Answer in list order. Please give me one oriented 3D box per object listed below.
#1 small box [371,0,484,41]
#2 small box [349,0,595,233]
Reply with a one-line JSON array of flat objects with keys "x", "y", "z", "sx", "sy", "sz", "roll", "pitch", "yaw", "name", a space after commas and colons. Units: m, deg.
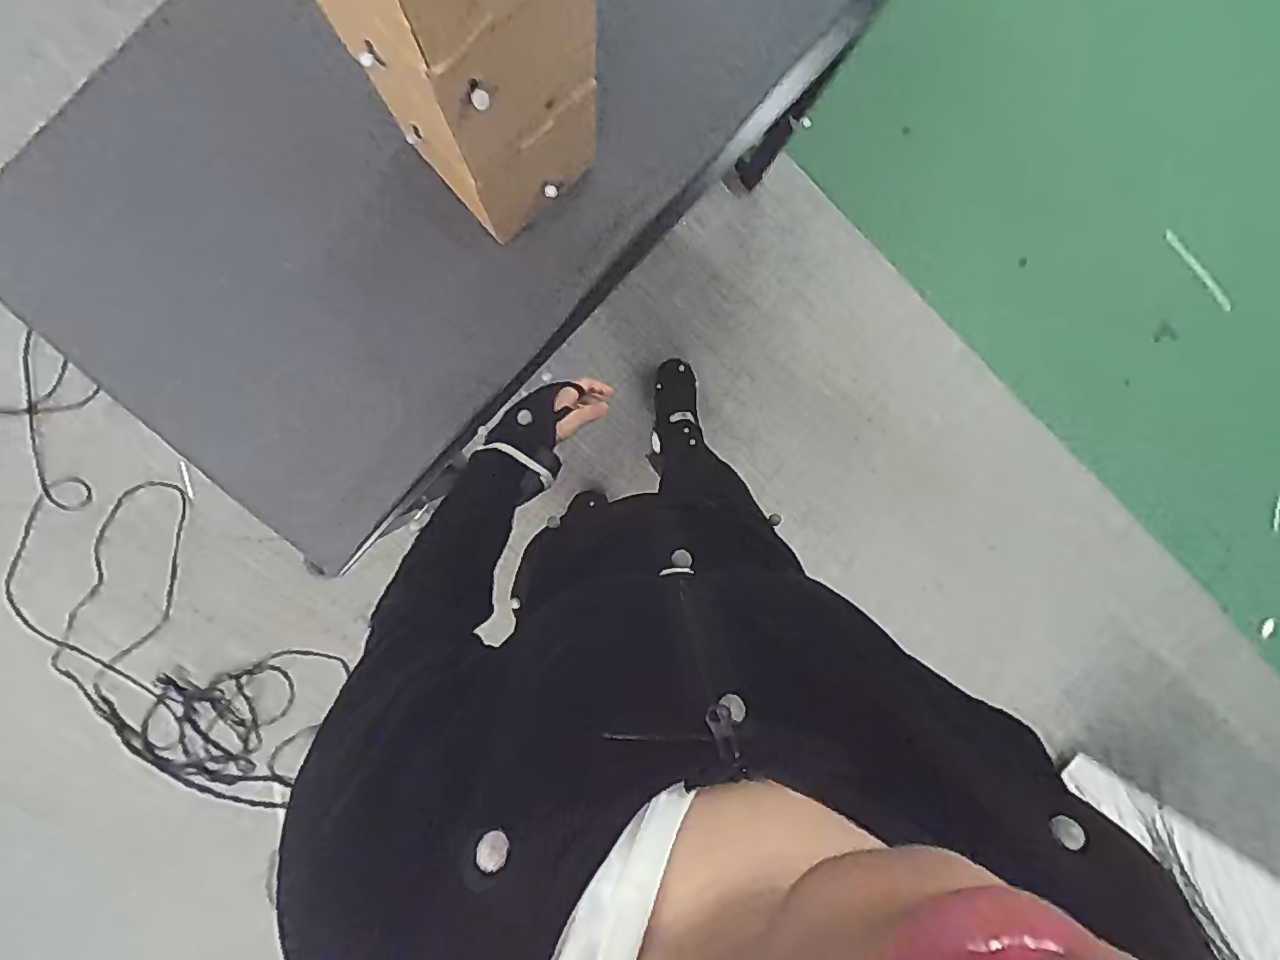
[{"x": -0.141, "y": -0.395, "z": 0.275, "sx": 0.179, "sy": 0.176, "sz": 0.168, "roll": 44, "pitch": 89, "yaw": -6, "name": "small box"}, {"x": -0.168, "y": -0.416, "z": 0.599, "sx": 0.168, "sy": 0.176, "sz": 0.179, "roll": -42, "pitch": 97, "yaw": -1, "name": "small box"}]
